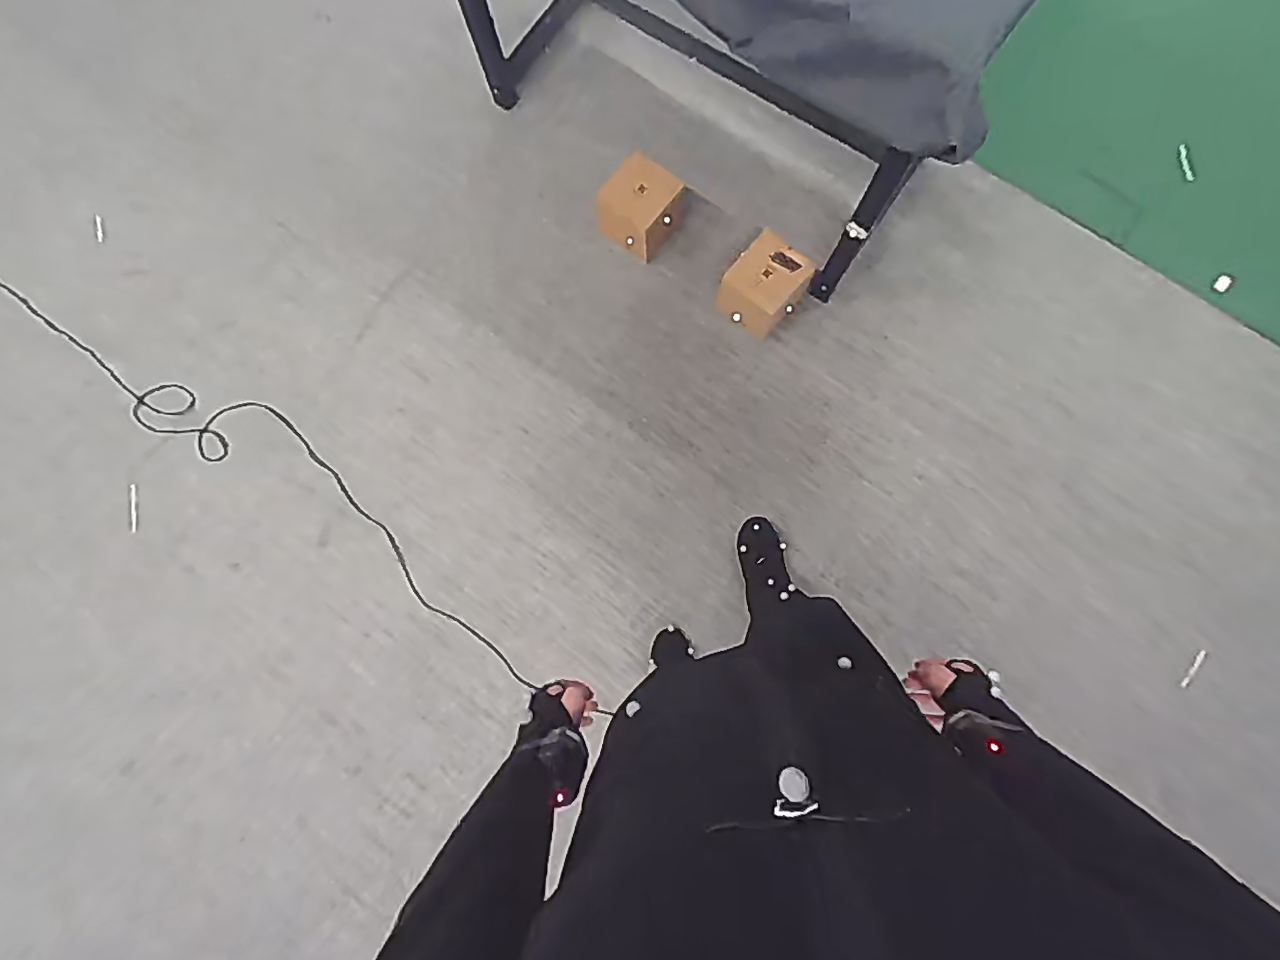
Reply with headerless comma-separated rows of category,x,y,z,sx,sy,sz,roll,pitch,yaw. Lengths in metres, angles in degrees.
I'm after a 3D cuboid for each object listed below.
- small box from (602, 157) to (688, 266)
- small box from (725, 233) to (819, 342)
small box,0.017,-0.736,1.503,0.168,0.176,0.179,38,83,7
small box,0.341,-0.505,1.442,0.168,0.176,0.179,42,86,9
